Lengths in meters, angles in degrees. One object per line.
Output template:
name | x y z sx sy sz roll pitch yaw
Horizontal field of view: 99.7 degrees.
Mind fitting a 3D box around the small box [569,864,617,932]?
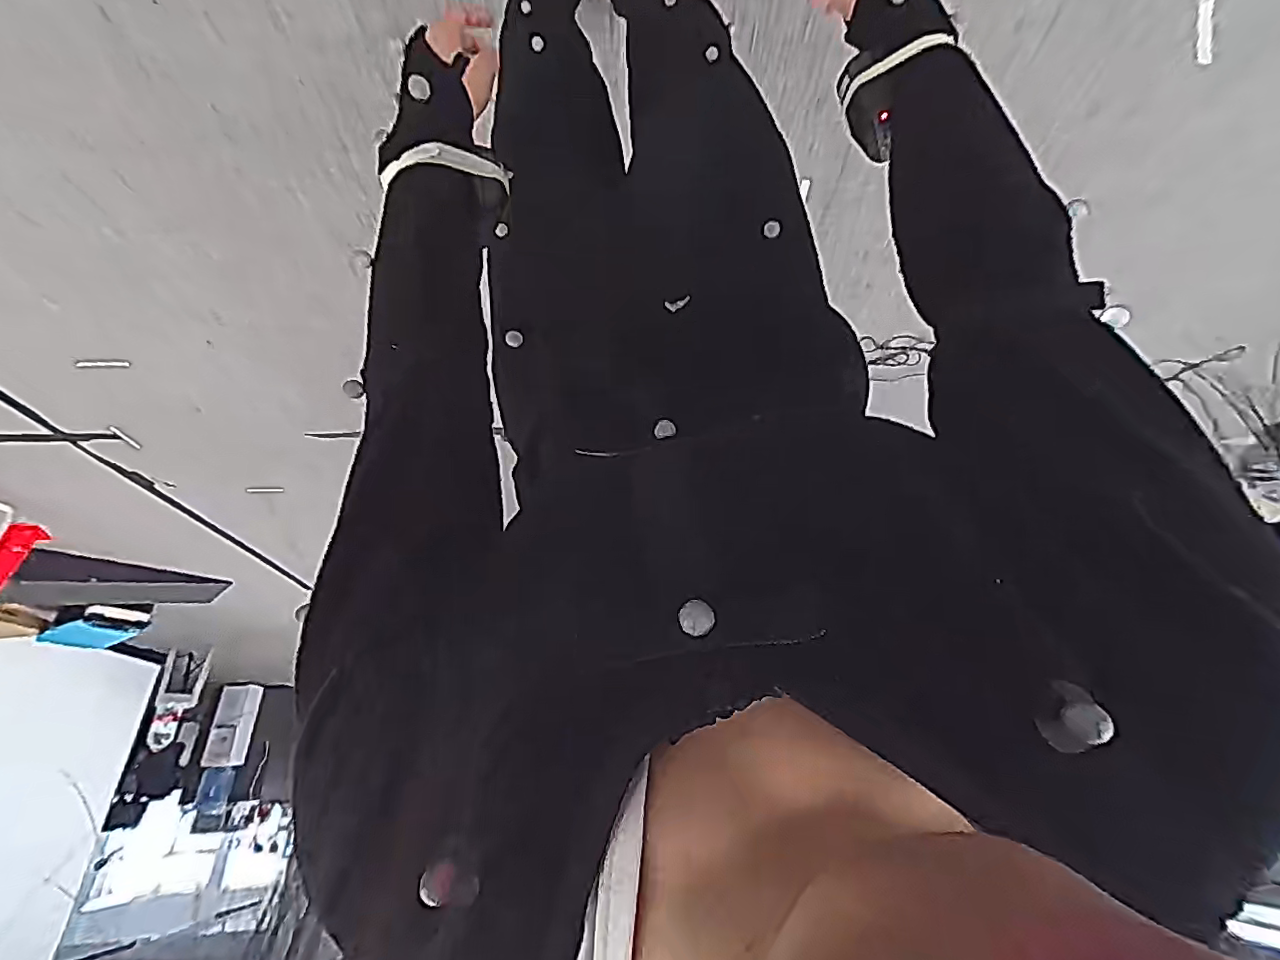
small box | -0.175 1.527 1.986 0.168 0.176 0.179 -1 152 -7
